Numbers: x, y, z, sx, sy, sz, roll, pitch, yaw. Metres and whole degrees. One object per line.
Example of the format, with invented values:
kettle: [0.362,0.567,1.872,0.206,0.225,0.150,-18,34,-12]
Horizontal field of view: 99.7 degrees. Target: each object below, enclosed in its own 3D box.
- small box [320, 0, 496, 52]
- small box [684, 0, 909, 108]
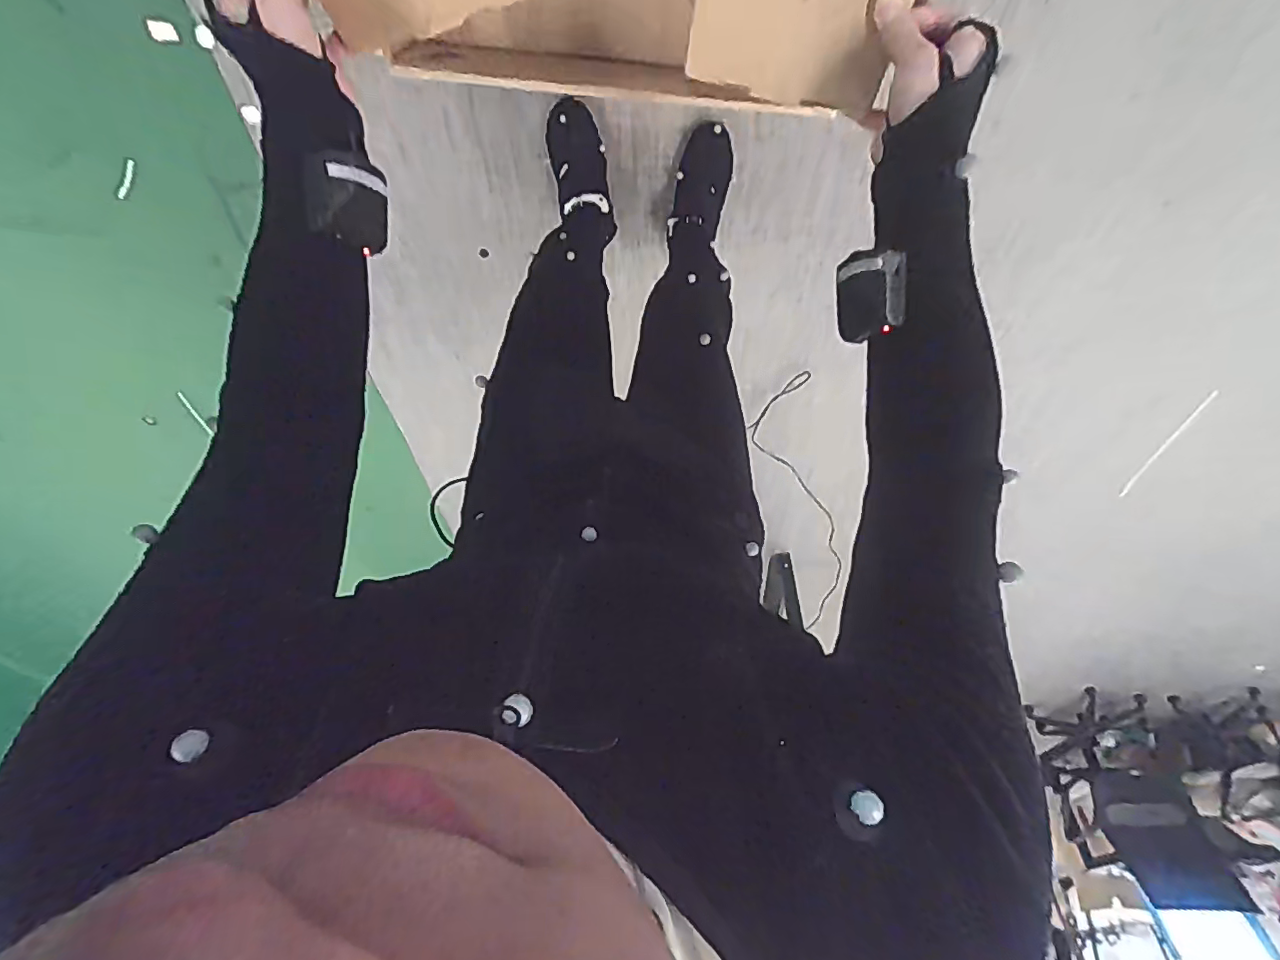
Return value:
small box: [-0.189,-0.487,0.413,0.168,0.176,0.179,-6,150,16]
small box: [0.145,-0.449,0.447,0.168,0.176,0.179,15,140,3]
